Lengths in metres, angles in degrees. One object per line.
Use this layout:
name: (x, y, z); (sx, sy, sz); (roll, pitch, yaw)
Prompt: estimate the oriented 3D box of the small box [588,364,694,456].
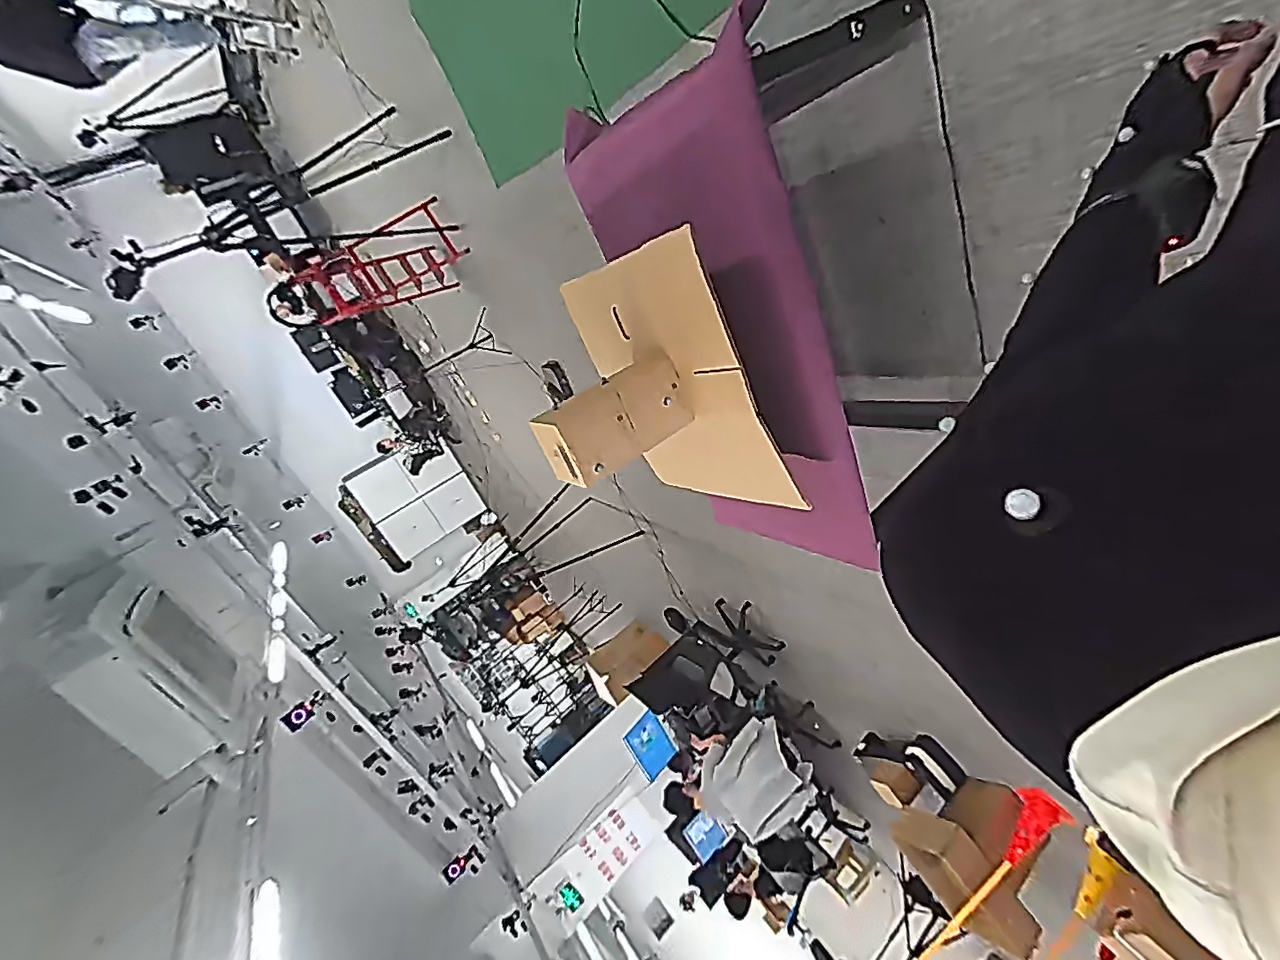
small box: (0.004, -0.178, 1.350); (0.179, 0.176, 0.168); (13, 132, 56)
